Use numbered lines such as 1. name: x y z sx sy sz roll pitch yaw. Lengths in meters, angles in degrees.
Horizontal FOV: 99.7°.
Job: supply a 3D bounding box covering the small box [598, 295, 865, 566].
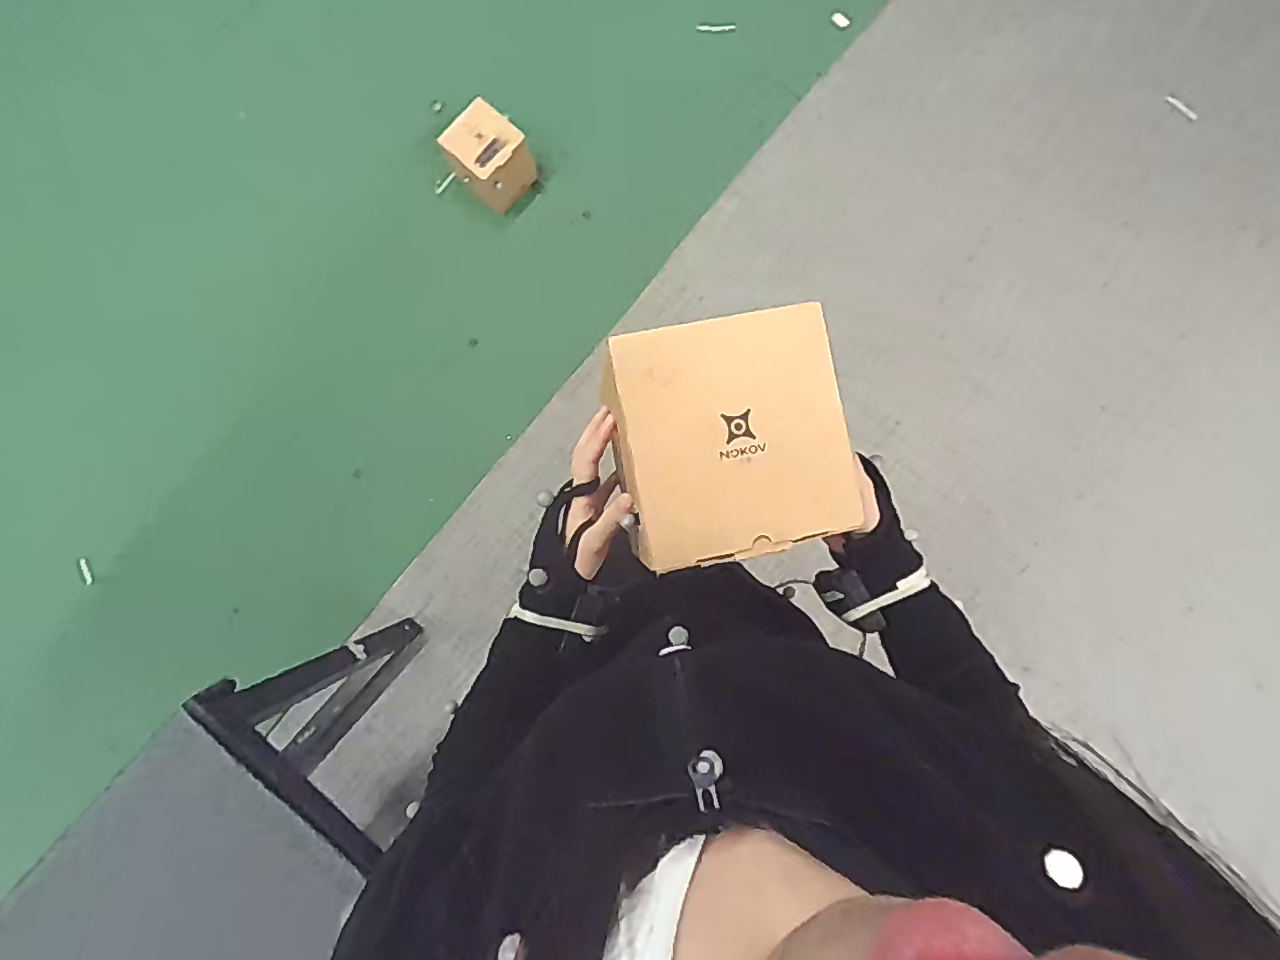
1. small box: 0.060 -0.033 0.468 0.168 0.176 0.179 -12 88 -6
